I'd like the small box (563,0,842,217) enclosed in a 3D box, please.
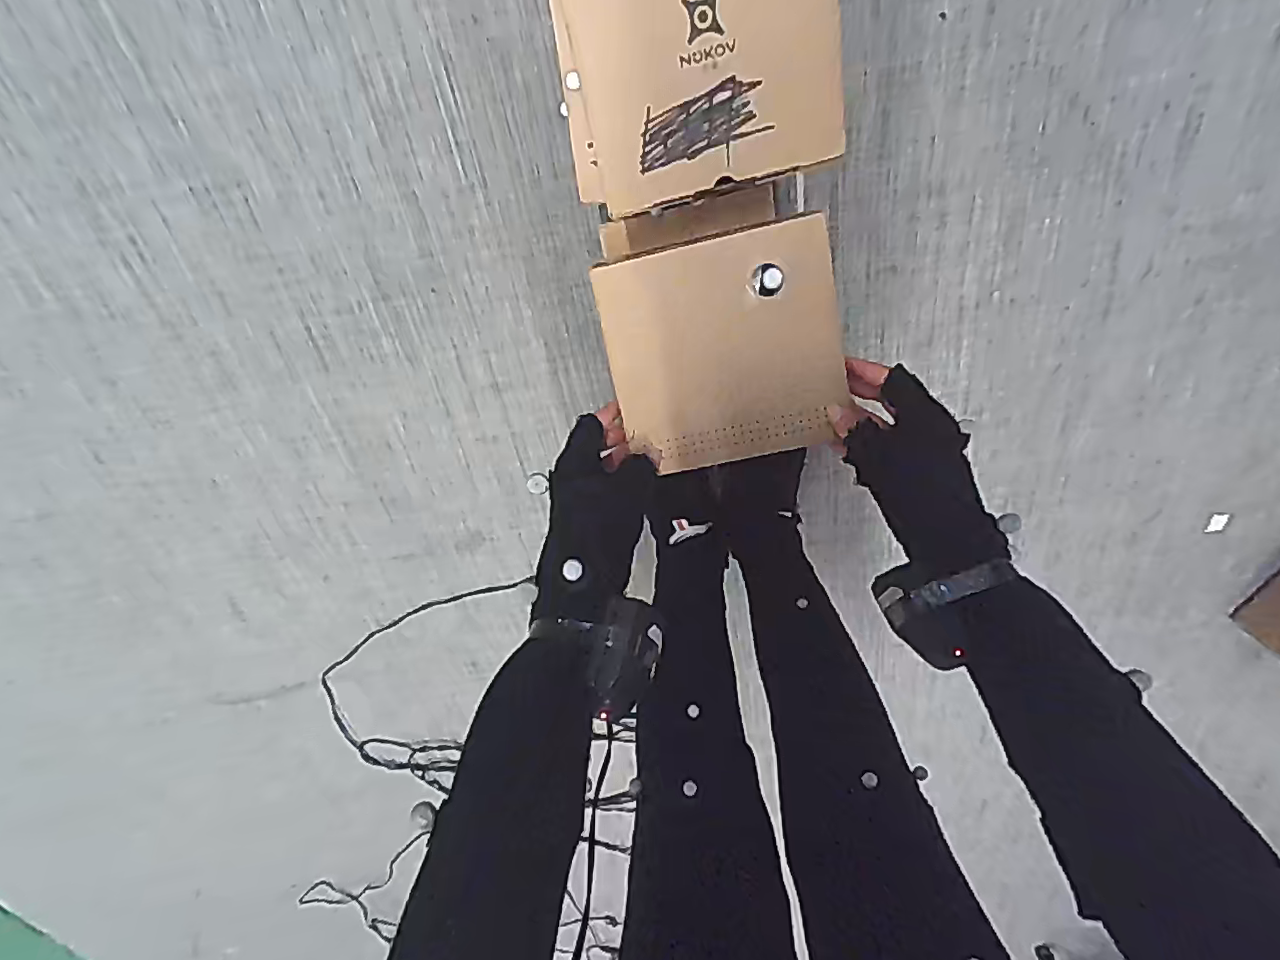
[{"bbox_3d":[0.043,-0.313,0.405,0.168,0.176,0.179,-11,117,7],"label":"small box"}]

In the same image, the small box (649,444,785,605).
[{"bbox_3d":[0.110,0.064,0.837,0.168,0.176,0.179,-7,123,-6],"label":"small box"}]
